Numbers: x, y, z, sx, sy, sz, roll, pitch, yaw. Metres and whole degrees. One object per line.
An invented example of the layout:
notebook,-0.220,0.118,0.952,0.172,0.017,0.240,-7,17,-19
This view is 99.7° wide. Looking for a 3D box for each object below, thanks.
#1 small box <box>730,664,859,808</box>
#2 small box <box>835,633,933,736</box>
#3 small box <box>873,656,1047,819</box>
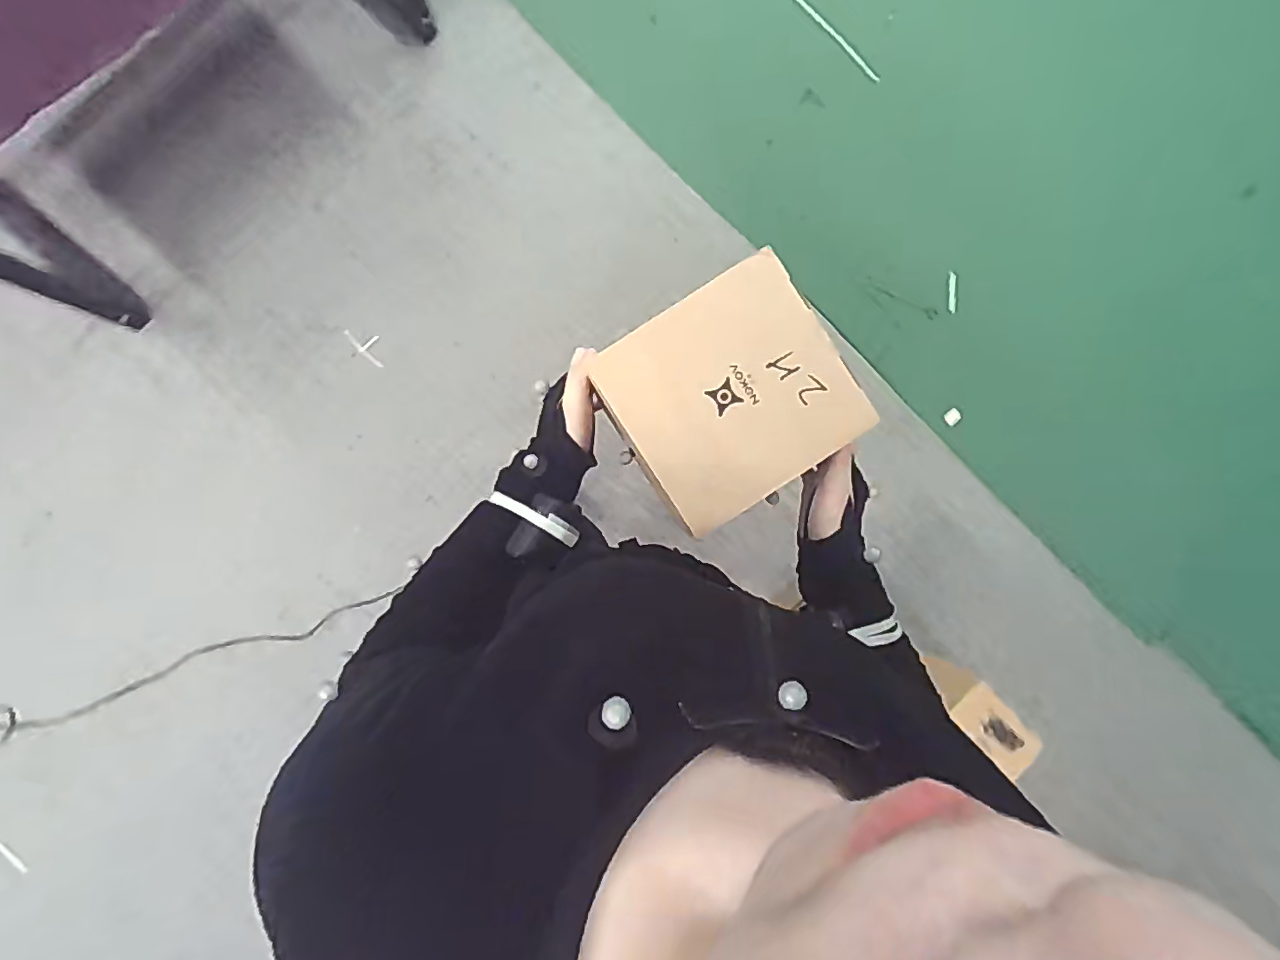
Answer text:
small box,0.306,0.518,1.121,0.179,0.176,0.168,-45,93,-5
small box,0.557,0.455,1.147,0.168,0.176,0.179,-43,93,-6
small box,0.566,0.450,0.980,0.179,0.176,0.168,-44,92,-7
